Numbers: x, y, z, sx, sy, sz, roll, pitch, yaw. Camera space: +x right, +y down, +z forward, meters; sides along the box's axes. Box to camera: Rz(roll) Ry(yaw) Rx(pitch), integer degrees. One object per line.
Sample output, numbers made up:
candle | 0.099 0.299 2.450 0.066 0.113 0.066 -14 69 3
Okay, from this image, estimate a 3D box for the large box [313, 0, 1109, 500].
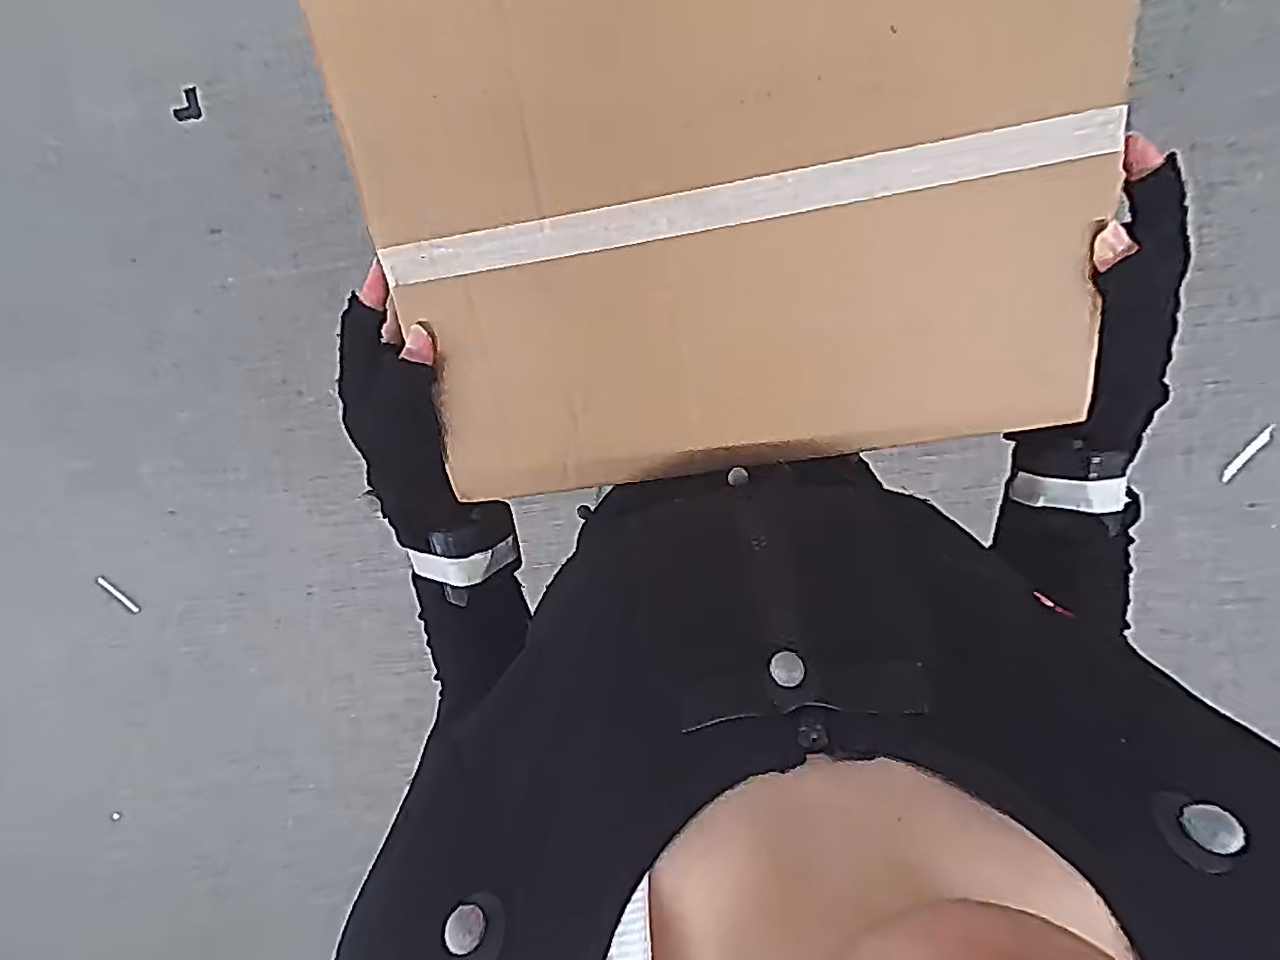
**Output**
large box | 0.055 -0.208 0.449 0.408 0.320 0.320 -7 110 6
